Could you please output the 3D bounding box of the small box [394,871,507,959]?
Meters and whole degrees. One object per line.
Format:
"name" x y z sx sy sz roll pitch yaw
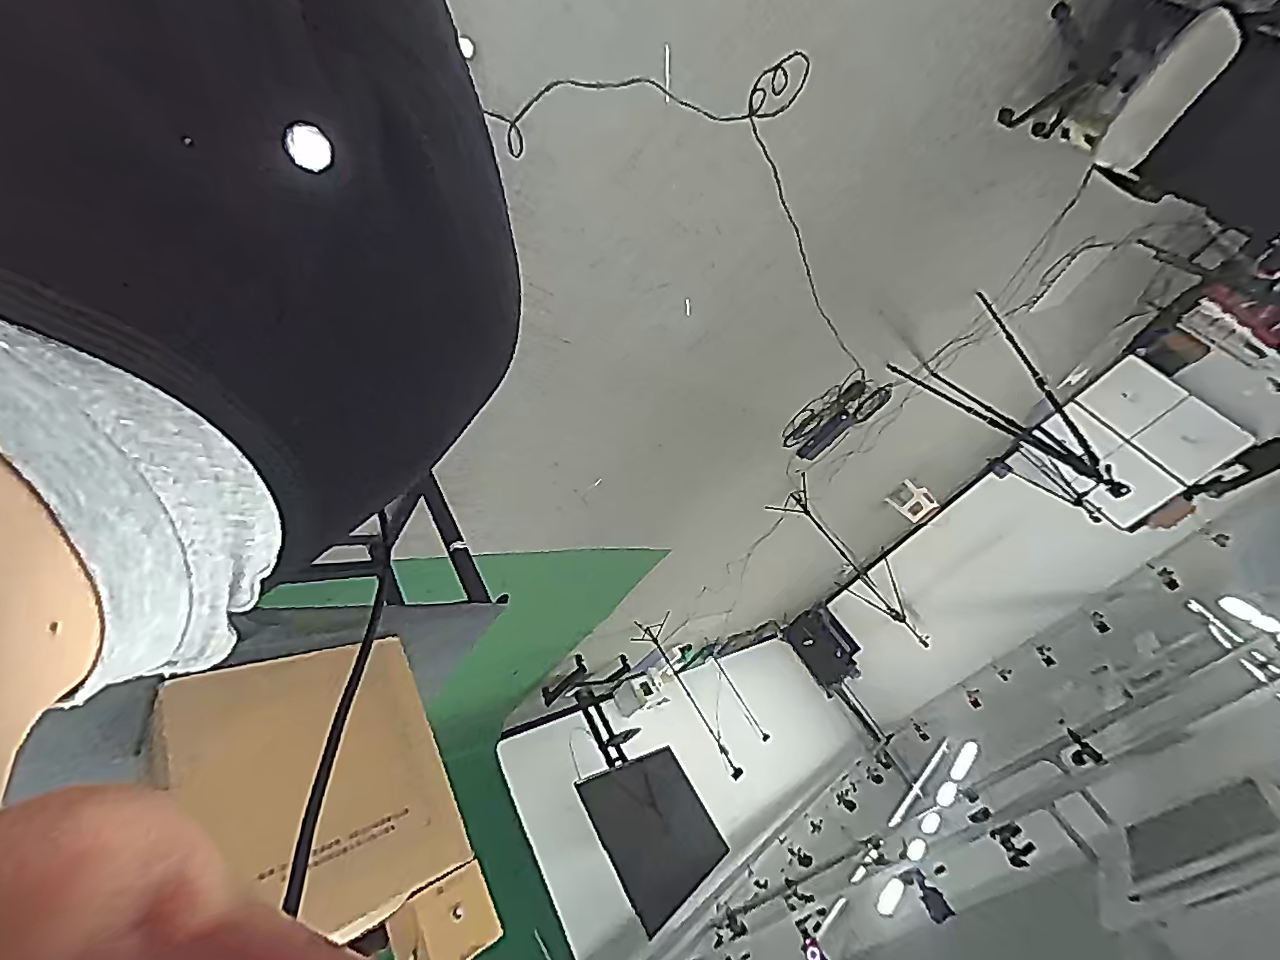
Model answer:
"small box" -0.440 1.045 1.240 0.168 0.176 0.179 2 134 -48
